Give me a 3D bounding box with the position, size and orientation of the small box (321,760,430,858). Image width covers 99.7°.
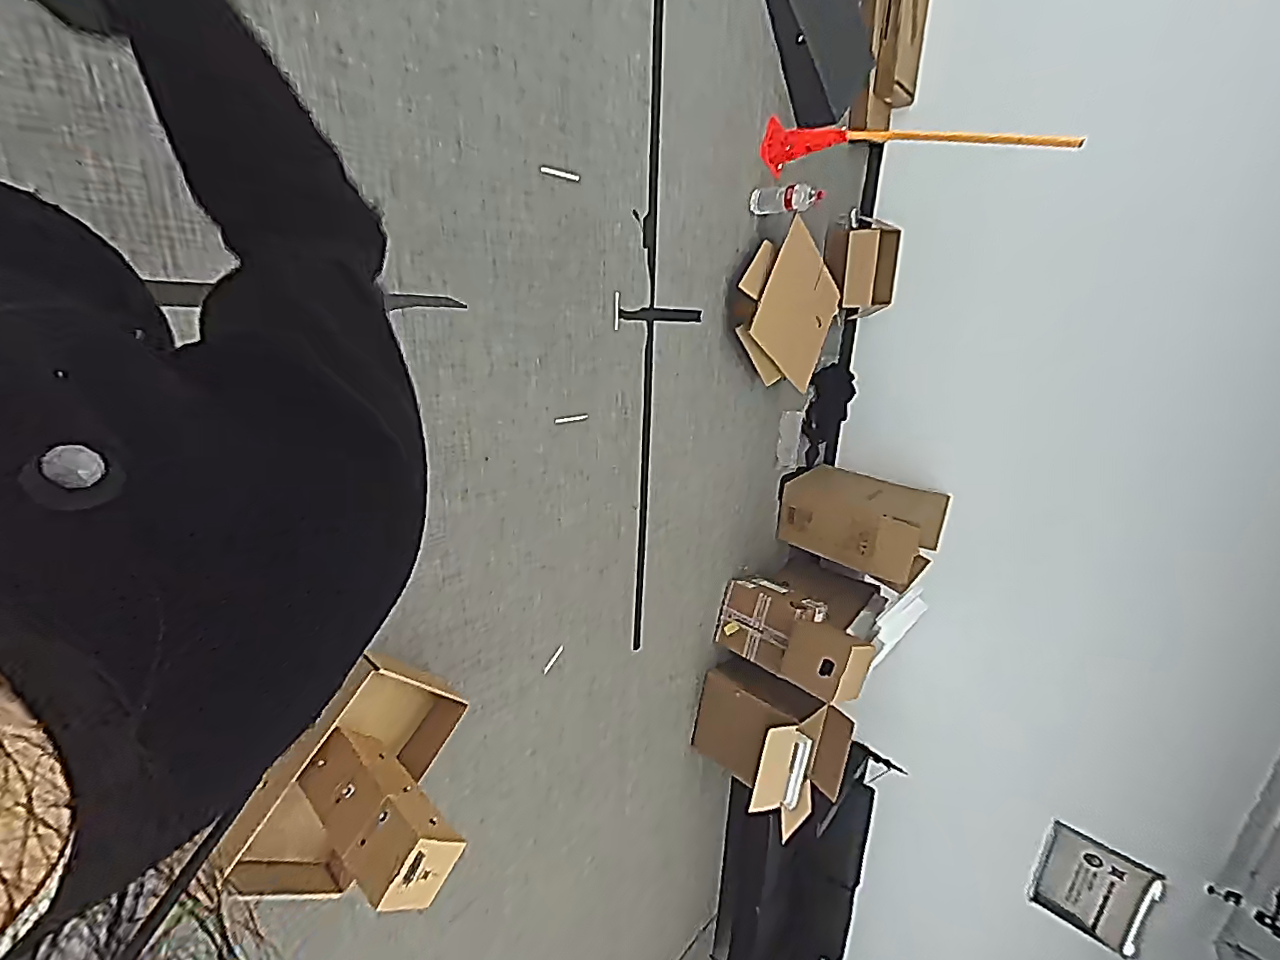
[{"bbox_3d":[-0.706,0.884,1.450,0.168,0.176,0.179,-57,138,-19],"label":"small box"}]

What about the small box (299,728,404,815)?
[{"bbox_3d":[-0.826,0.843,1.551,0.168,0.176,0.179,-56,138,-20],"label":"small box"}]

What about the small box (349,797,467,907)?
[{"bbox_3d":[-0.581,0.924,1.351,0.168,0.176,0.179,-57,140,-18],"label":"small box"}]
